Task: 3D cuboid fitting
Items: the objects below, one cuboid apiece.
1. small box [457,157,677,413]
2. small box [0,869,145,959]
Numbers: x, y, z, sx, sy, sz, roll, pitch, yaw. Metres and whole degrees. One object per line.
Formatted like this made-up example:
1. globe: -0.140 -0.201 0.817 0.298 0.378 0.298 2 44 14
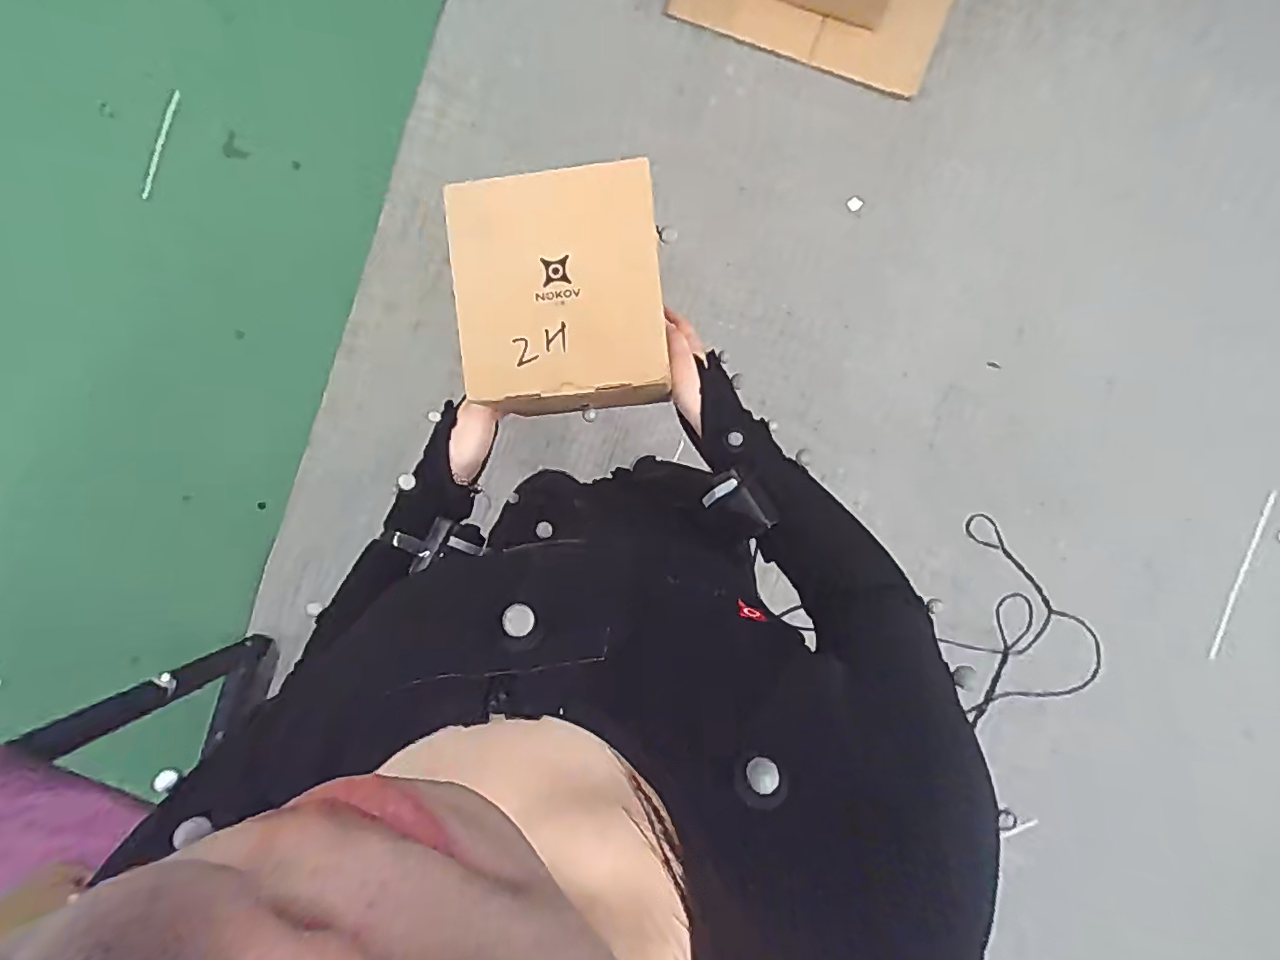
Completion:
1. small box: -0.054 -0.162 0.503 0.168 0.176 0.179 -4 92 3
2. small box: -0.829 0.684 0.724 0.168 0.176 0.179 19 92 1
